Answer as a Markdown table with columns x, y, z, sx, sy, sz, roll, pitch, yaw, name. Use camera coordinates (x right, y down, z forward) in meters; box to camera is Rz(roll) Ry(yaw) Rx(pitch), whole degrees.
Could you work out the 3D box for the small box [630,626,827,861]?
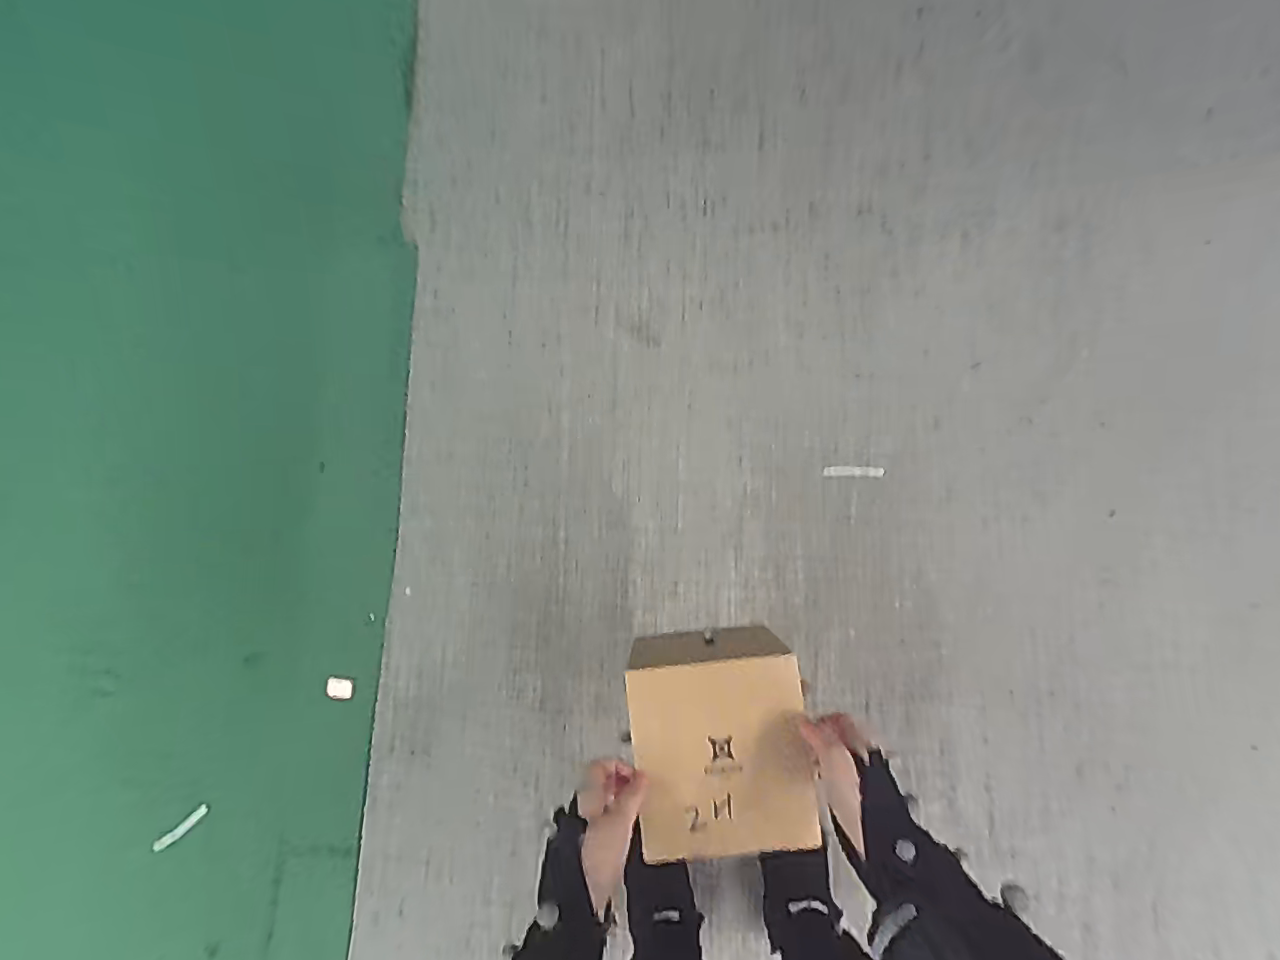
| x | y | z | sx | sy | sz | roll | pitch | yaw | name |
| --- | --- | --- | --- | --- | --- | --- | --- | --- | --- |
| 0.081 | 0.255 | 0.568 | 0.168 | 0.176 | 0.179 | -6 | 85 | 2 | small box |
